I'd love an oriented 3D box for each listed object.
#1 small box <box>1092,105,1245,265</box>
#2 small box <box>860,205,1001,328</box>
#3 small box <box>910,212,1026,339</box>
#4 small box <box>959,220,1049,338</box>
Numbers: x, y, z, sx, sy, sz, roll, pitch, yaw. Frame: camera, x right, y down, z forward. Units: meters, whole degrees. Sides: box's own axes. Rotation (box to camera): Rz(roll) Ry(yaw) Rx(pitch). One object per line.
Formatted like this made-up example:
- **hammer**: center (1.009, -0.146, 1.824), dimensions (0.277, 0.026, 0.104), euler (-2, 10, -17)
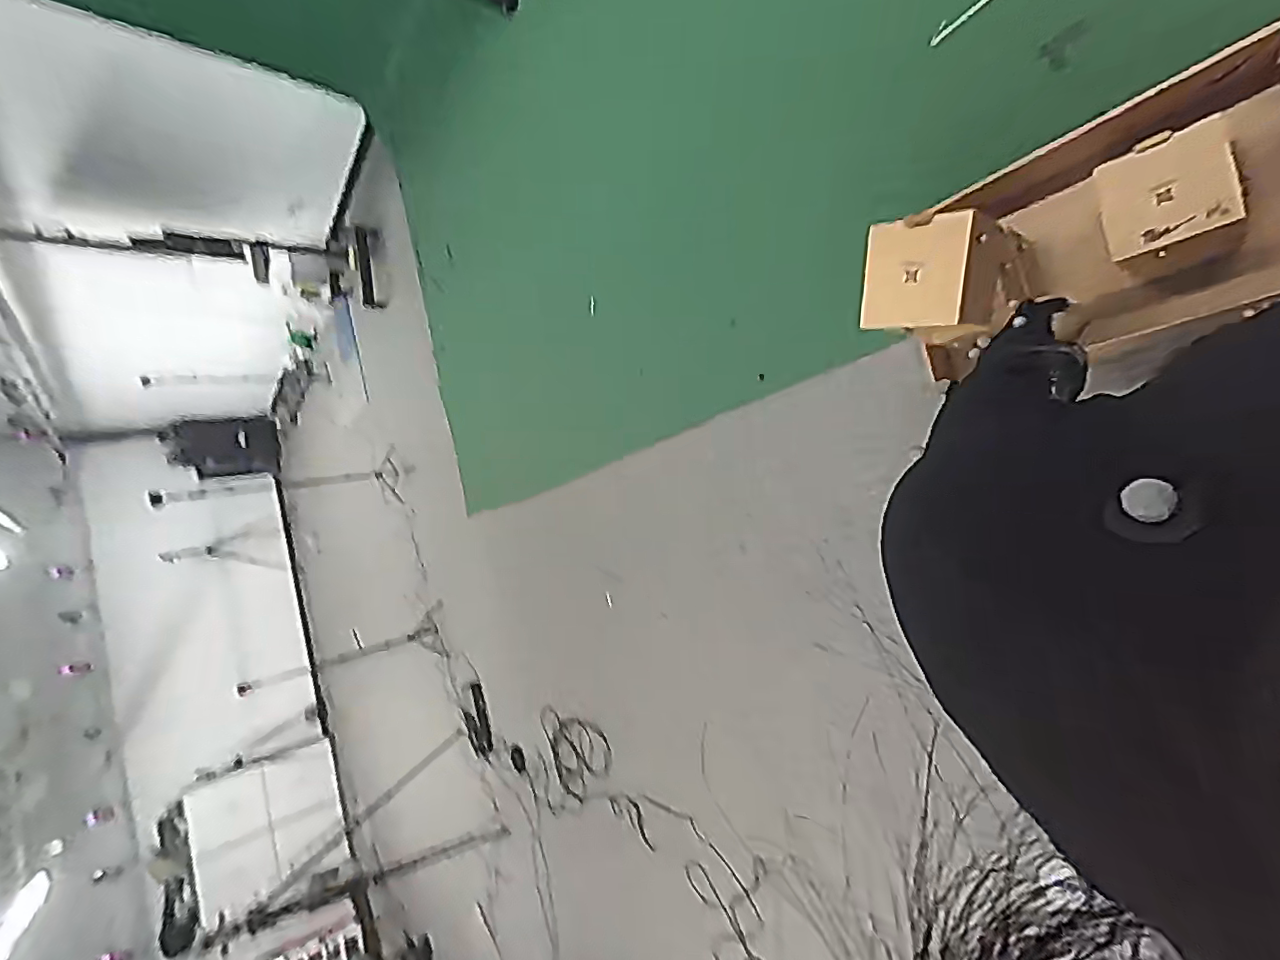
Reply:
- **small box**: center (0.930, -0.504, 0.954), dimensions (0.168, 0.176, 0.179), euler (-12, 89, 49)
- **small box**: center (0.512, -0.361, 0.953), dimensions (0.168, 0.176, 0.179), euler (13, 107, 45)
- **small box**: center (0.627, -0.390, 1.064), dimensions (0.168, 0.176, 0.179), euler (-19, 83, 47)
- **small box**: center (0.748, -0.423, 1.169), dimensions (0.168, 0.176, 0.179), euler (-20, 82, 48)
